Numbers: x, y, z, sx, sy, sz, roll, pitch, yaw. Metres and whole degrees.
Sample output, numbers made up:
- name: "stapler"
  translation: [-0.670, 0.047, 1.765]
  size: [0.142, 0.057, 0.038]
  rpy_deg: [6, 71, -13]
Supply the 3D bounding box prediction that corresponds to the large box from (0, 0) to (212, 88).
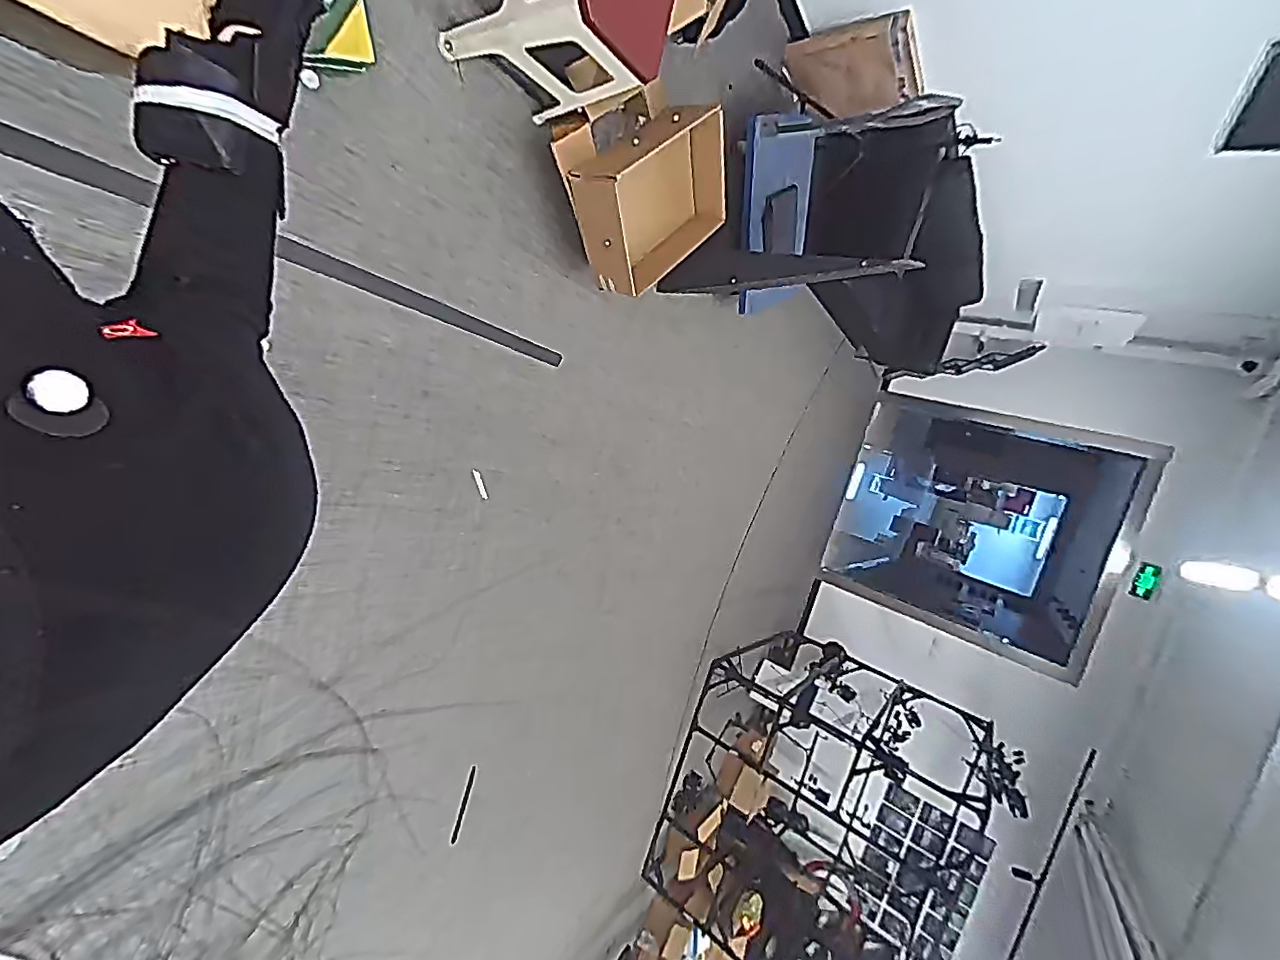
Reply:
- name: "large box"
  translation: [-0.486, -0.474, 0.256]
  size: [0.408, 0.320, 0.320]
  rpy_deg: [0, 115, -59]
